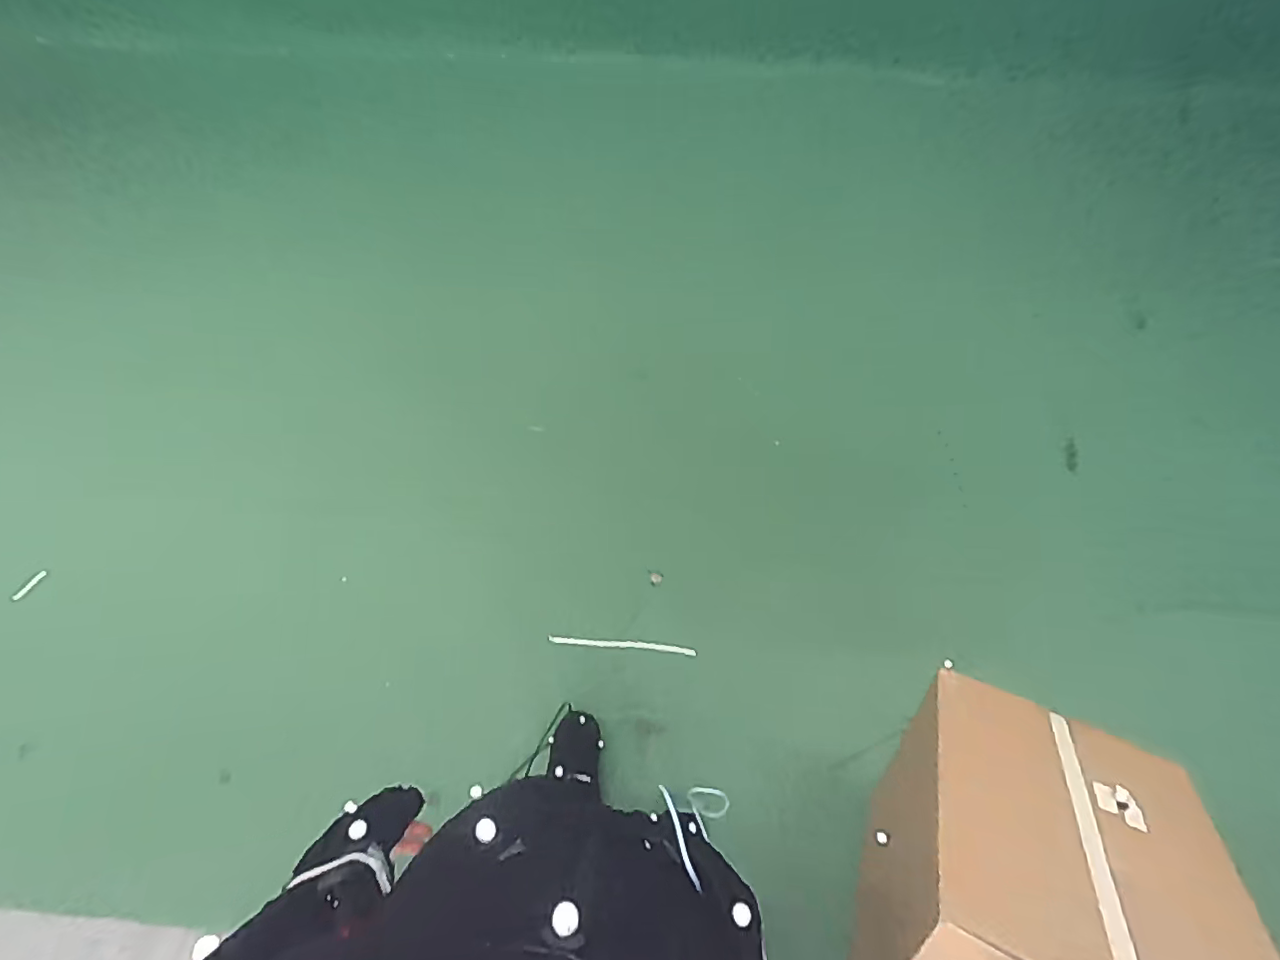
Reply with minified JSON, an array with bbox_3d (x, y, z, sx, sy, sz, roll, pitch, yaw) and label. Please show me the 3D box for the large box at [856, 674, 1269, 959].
[{"bbox_3d":[0.481,0.543,0.684,0.320,0.320,0.408,21,26,21],"label":"large box"}]
